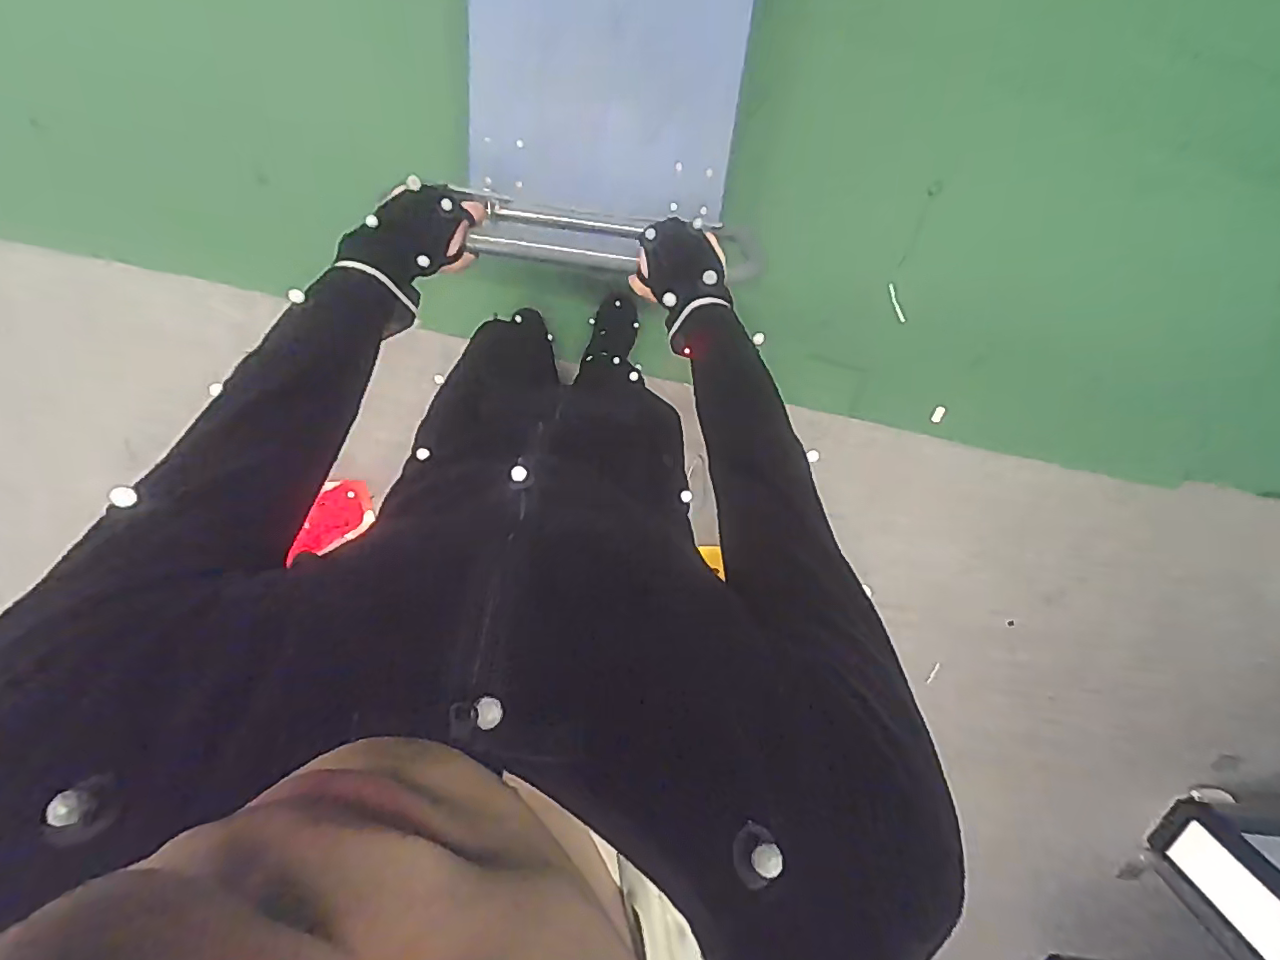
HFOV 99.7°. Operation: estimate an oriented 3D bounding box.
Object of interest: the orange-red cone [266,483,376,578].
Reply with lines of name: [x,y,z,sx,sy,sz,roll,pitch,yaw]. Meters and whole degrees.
orange-red cone: [-0.919,0.164,1.505,0.199,0.360,0.198,-2,112,-1]
